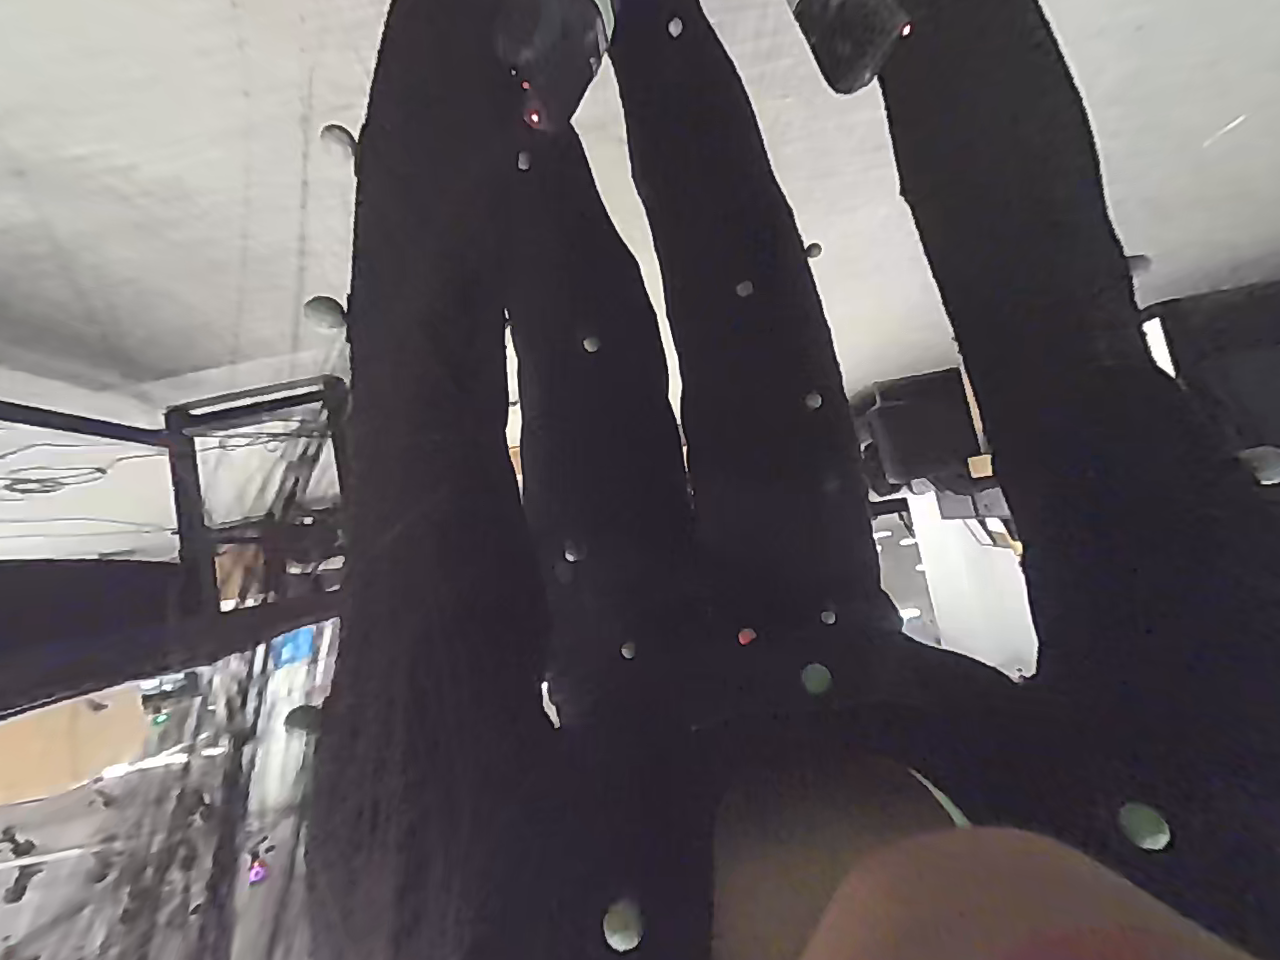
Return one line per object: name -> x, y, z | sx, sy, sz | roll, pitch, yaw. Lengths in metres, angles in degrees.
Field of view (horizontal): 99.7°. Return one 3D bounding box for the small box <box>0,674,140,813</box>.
small box -> -1.019, 0.444, 0.927 | 0.179, 0.176, 0.168 | -11, 176, 1
